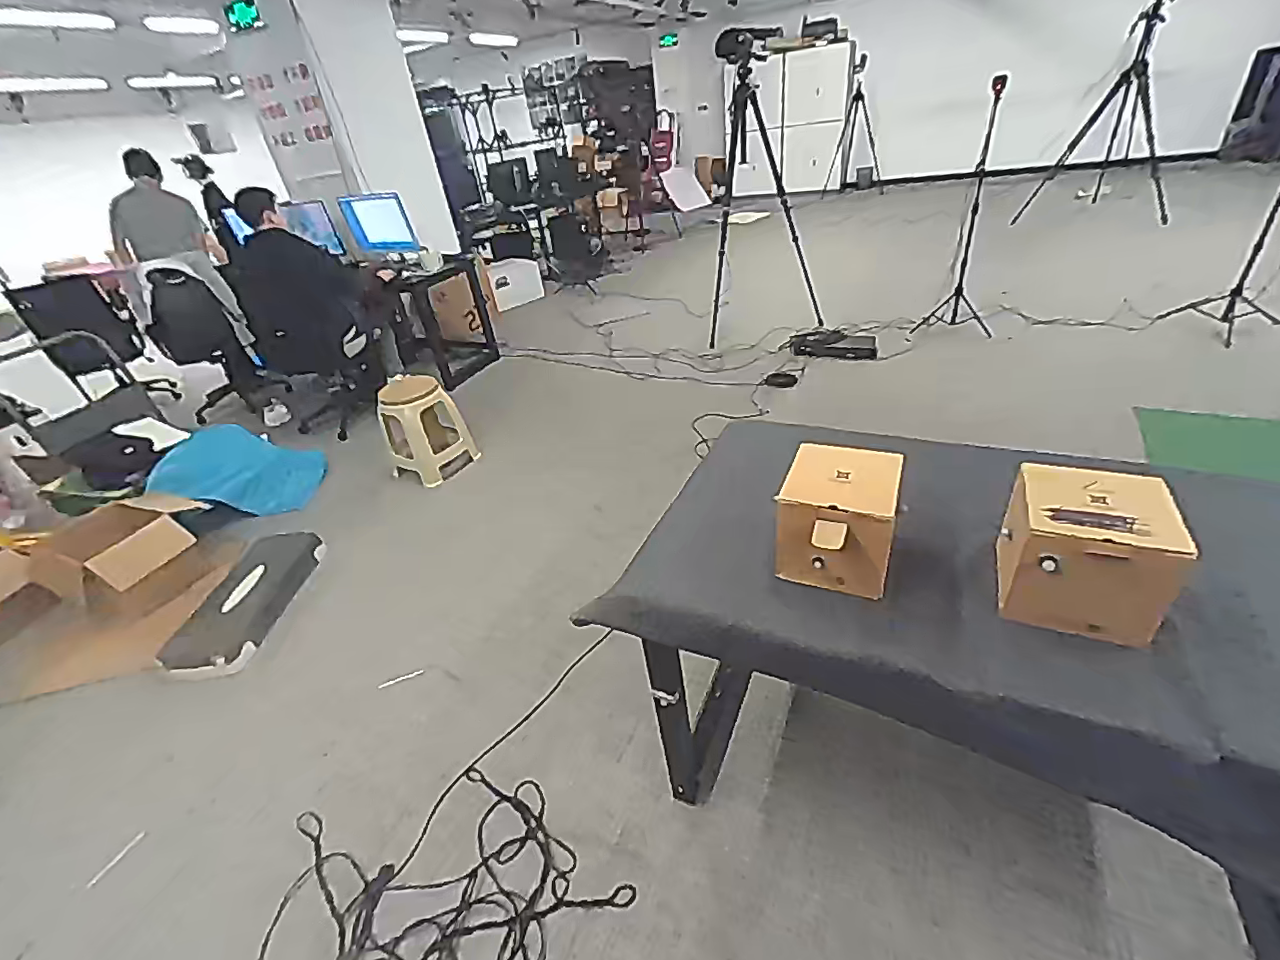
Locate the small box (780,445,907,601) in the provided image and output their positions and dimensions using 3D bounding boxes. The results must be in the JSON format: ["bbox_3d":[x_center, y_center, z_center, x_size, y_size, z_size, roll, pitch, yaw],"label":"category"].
[{"bbox_3d":[0.332,0.066,0.894,0.168,0.176,0.179,10,38,25],"label":"small box"}]
